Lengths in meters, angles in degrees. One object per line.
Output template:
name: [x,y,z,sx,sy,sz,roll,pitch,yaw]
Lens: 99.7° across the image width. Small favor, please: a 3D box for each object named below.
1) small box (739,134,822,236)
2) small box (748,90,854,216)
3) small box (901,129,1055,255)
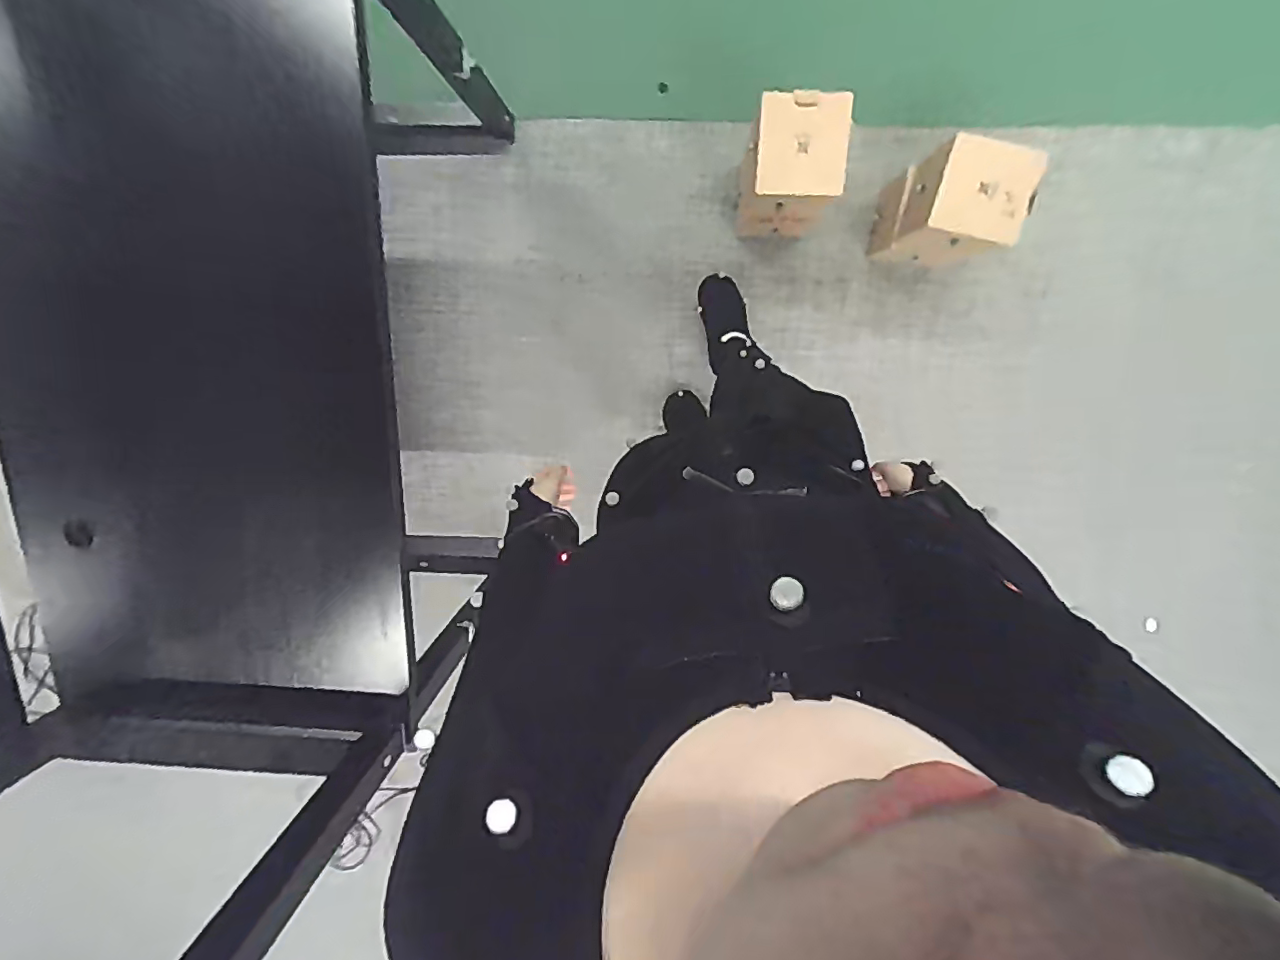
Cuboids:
small box: [0.319,-0.663,1.229,0.168,0.176,0.179,1,103,4]
small box: [0.307,-0.634,1.069,0.168,0.176,0.179,2,102,4]
small box: [0.647,-0.553,1.063,0.179,0.176,0.168,13,105,0]
